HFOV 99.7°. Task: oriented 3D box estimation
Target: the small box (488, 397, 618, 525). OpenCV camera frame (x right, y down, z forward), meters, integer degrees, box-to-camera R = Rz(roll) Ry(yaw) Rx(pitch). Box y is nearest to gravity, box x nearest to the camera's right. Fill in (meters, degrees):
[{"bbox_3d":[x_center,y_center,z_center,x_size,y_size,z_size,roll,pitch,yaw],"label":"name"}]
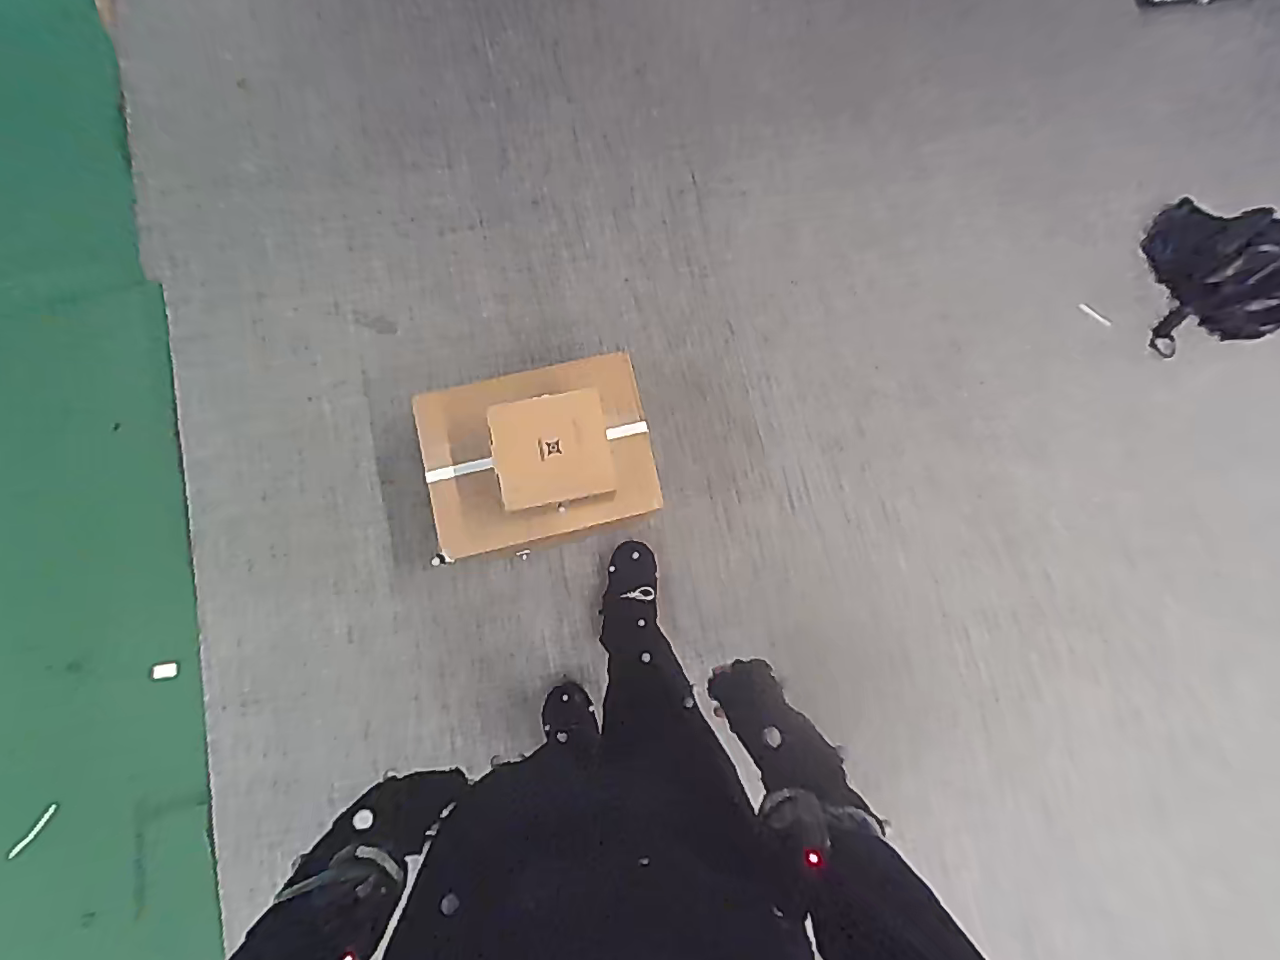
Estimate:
[{"bbox_3d":[-0.137,-0.023,0.898,0.179,0.176,0.168,-12,83,-6],"label":"small box"}]
